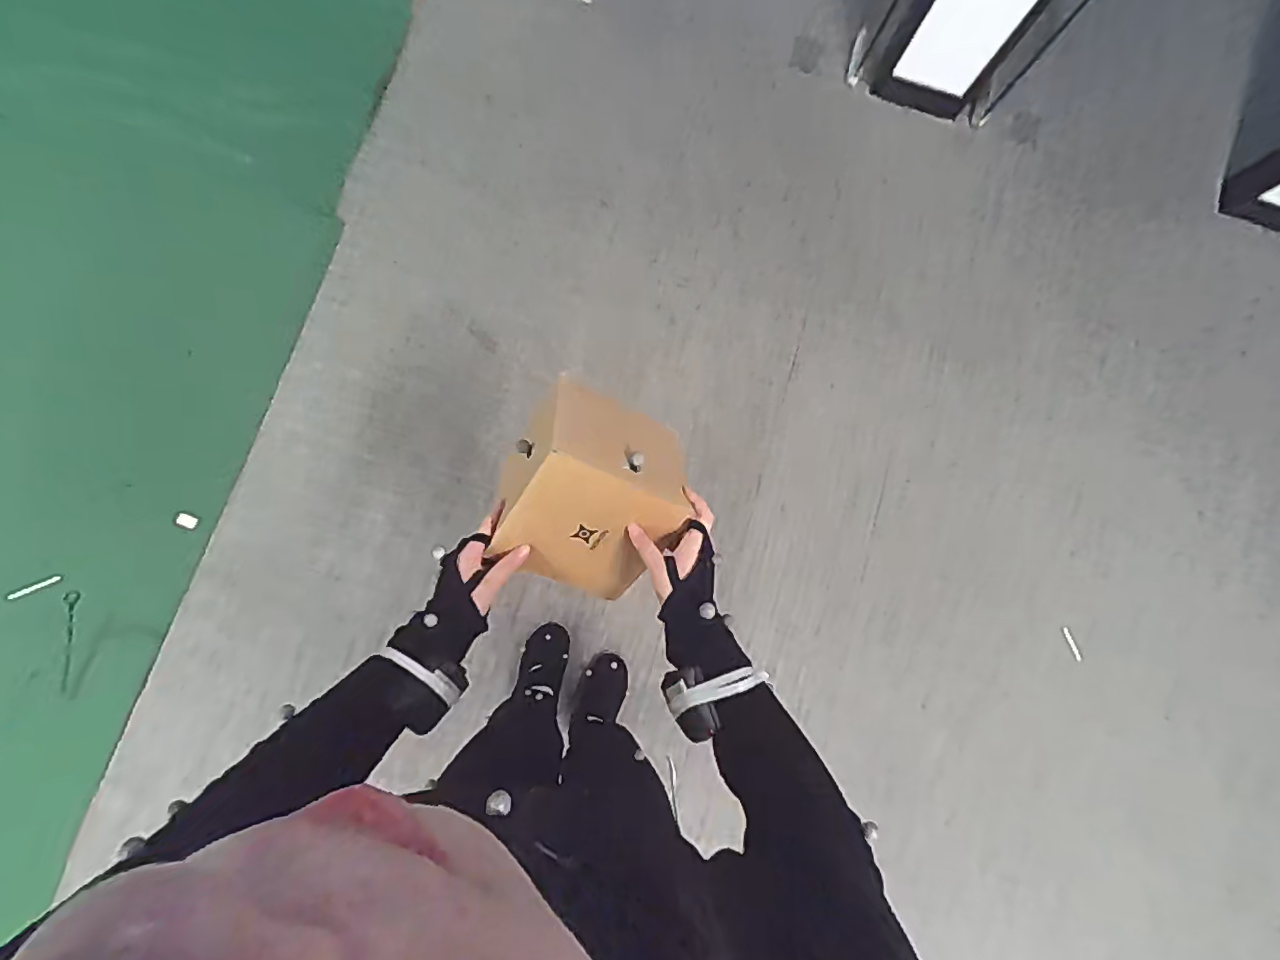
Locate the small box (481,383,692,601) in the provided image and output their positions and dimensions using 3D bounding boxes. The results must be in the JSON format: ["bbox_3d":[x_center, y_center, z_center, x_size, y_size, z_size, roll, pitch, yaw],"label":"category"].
[{"bbox_3d":[-0.065,0.009,0.645,0.179,0.176,0.168,24,123,-24],"label":"small box"}]
